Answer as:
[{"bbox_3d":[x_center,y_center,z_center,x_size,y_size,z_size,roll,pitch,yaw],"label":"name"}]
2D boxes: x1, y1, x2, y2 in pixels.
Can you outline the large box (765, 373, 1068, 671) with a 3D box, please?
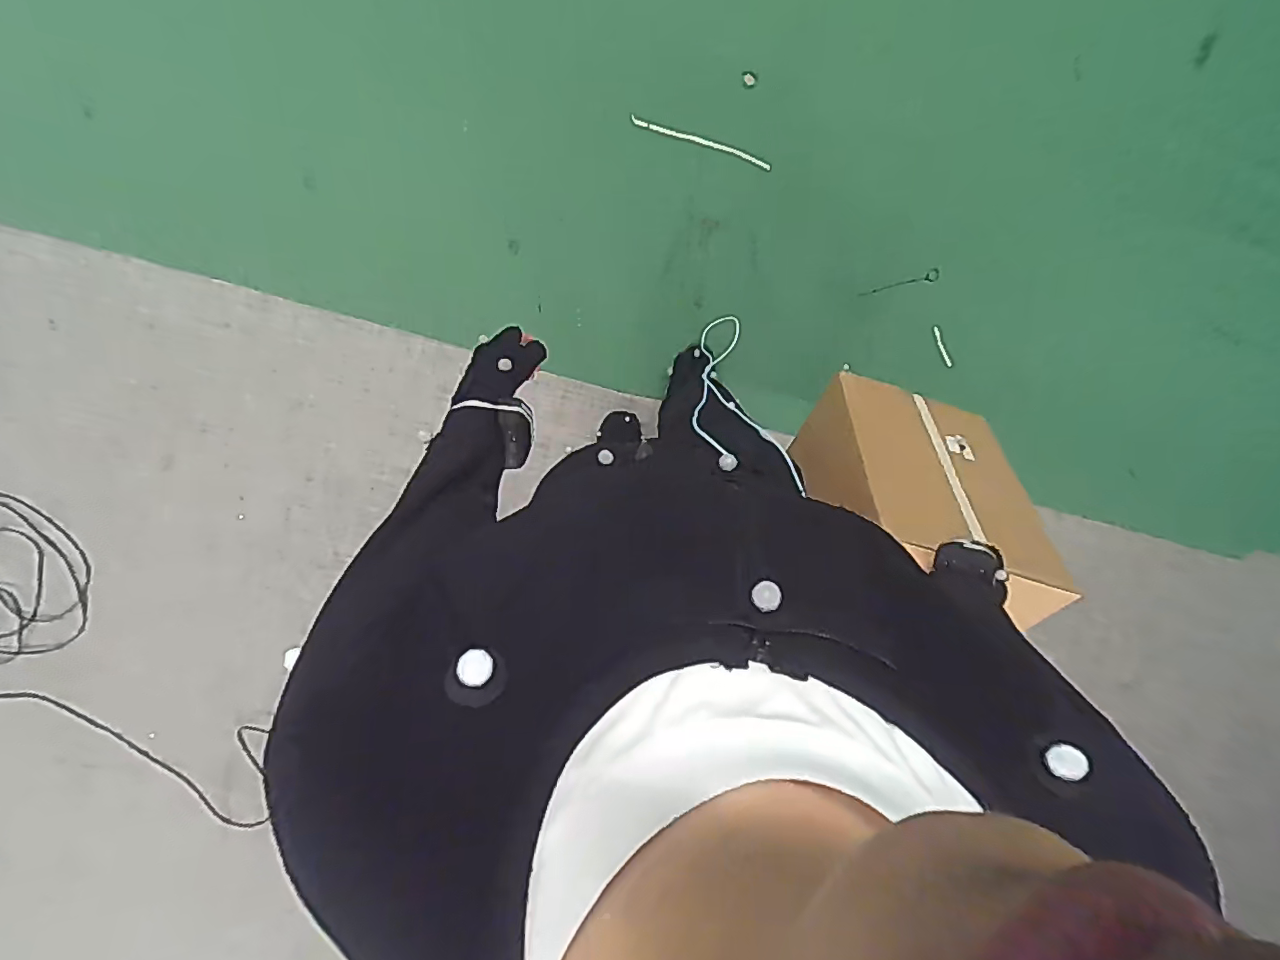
[{"bbox_3d":[0.445,0.077,0.993,0.320,0.408,0.320,17,134,-8],"label":"large box"}]
